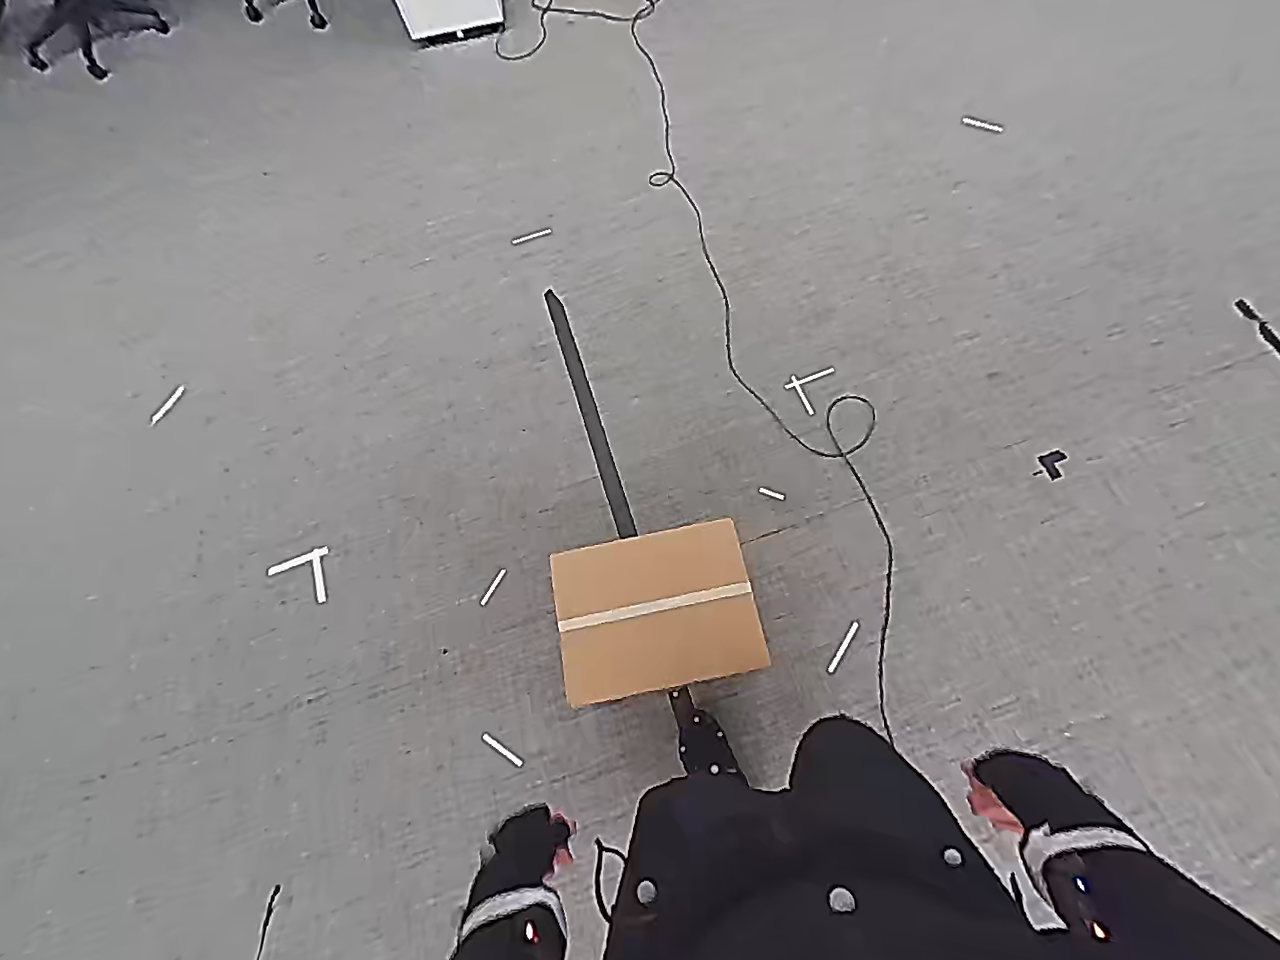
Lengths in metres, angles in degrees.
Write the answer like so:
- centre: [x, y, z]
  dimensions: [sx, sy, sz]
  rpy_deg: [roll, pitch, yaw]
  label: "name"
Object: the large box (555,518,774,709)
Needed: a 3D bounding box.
- centre: [0.053, 0.317, 1.239]
  dimensions: [0.408, 0.320, 0.320]
  rpy_deg: [-12, 69, 1]
  label: "large box"
